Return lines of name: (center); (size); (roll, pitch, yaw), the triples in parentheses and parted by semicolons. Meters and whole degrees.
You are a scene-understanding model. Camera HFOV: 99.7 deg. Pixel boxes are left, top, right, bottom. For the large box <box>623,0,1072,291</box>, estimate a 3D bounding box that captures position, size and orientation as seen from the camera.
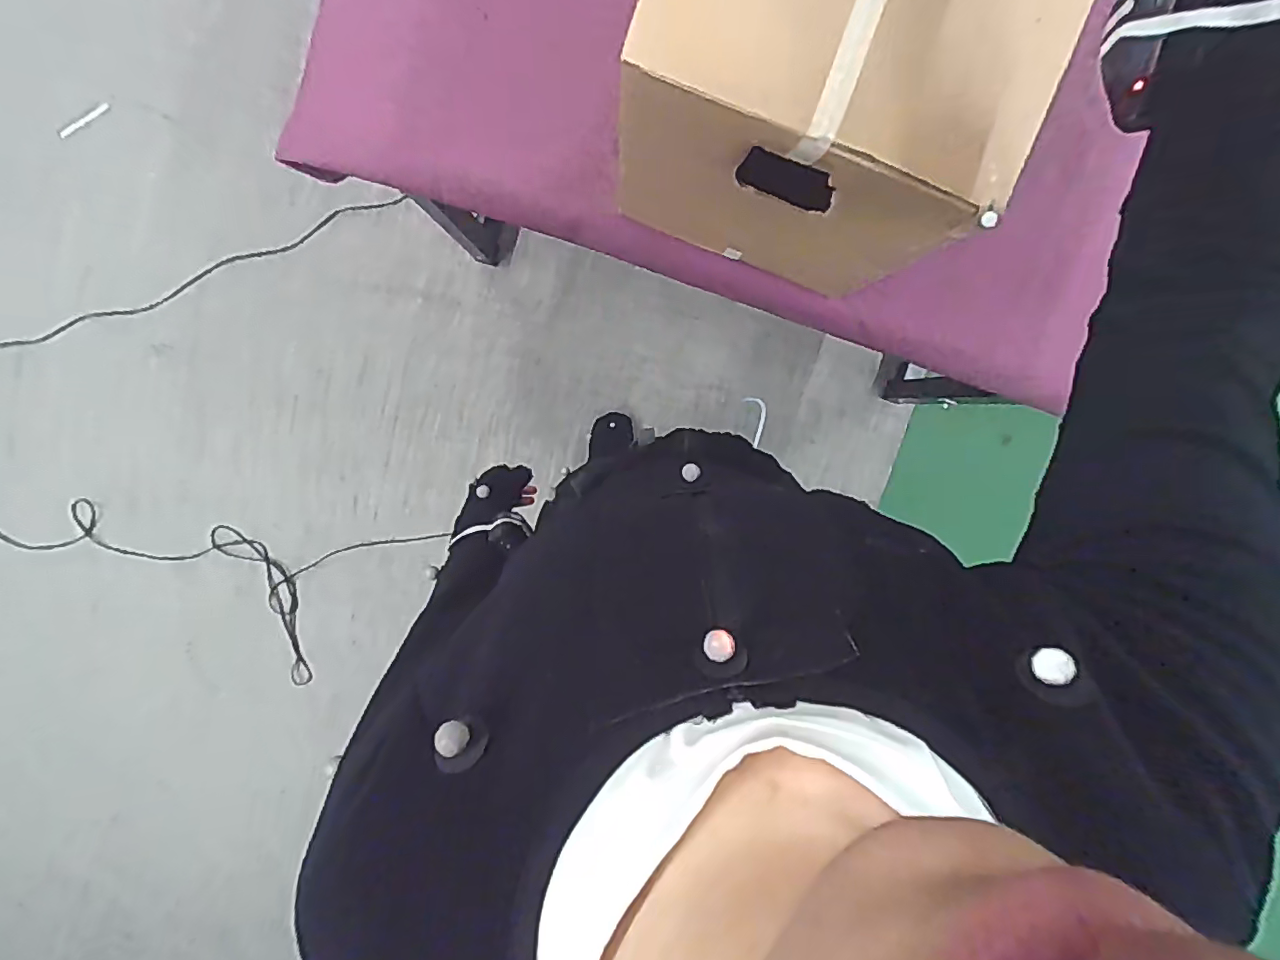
large box: (0.191, -0.465, 0.546); (0.320, 0.320, 0.408); (20, 97, -5)
